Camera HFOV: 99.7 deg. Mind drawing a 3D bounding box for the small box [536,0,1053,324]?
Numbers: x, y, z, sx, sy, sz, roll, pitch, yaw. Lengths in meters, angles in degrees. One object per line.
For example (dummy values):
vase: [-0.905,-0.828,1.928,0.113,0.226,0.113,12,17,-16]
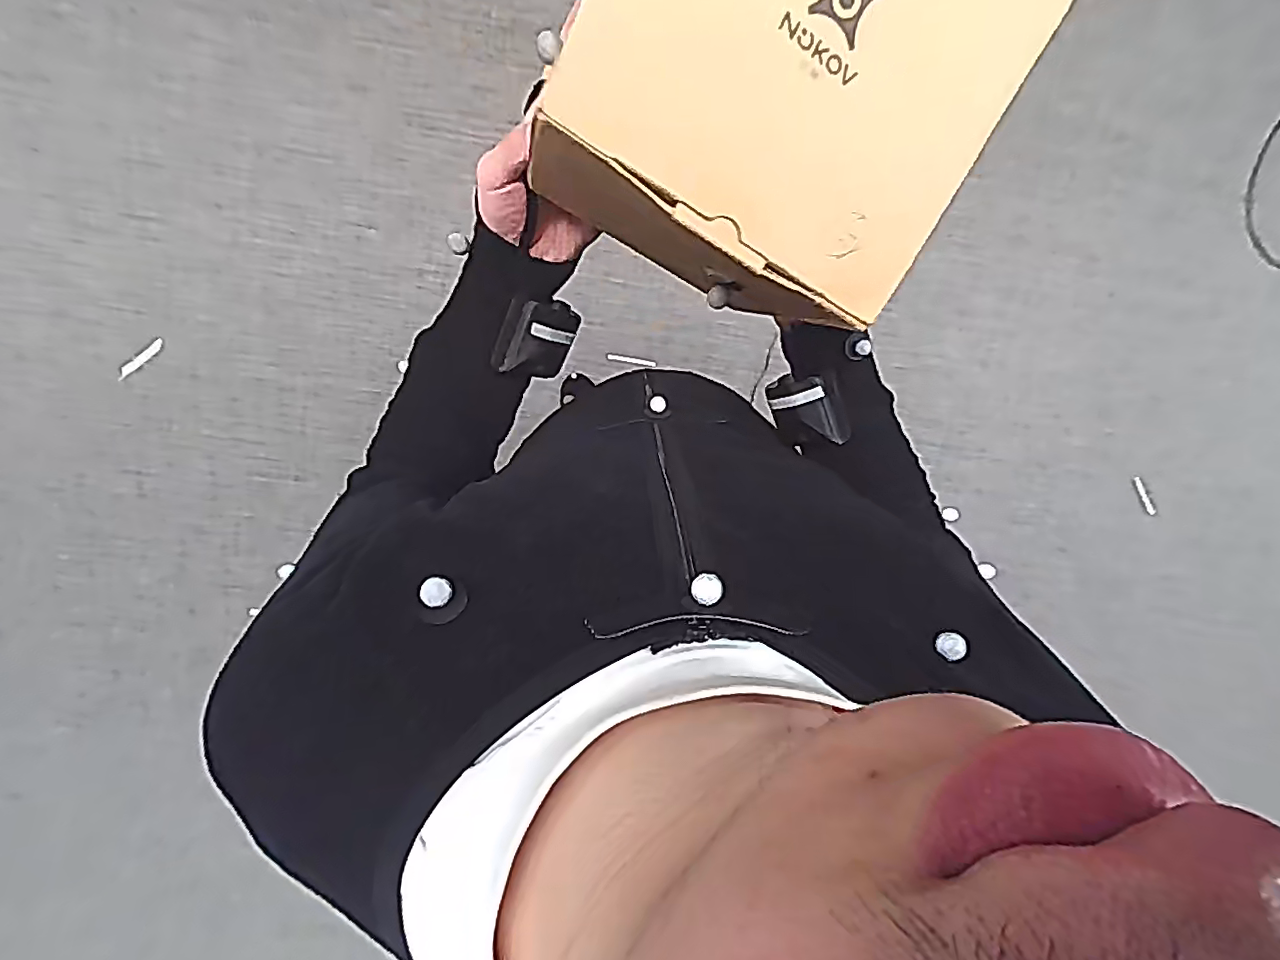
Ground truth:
small box: [0.055,-0.204,0.284,0.168,0.176,0.179,23,103,-20]
